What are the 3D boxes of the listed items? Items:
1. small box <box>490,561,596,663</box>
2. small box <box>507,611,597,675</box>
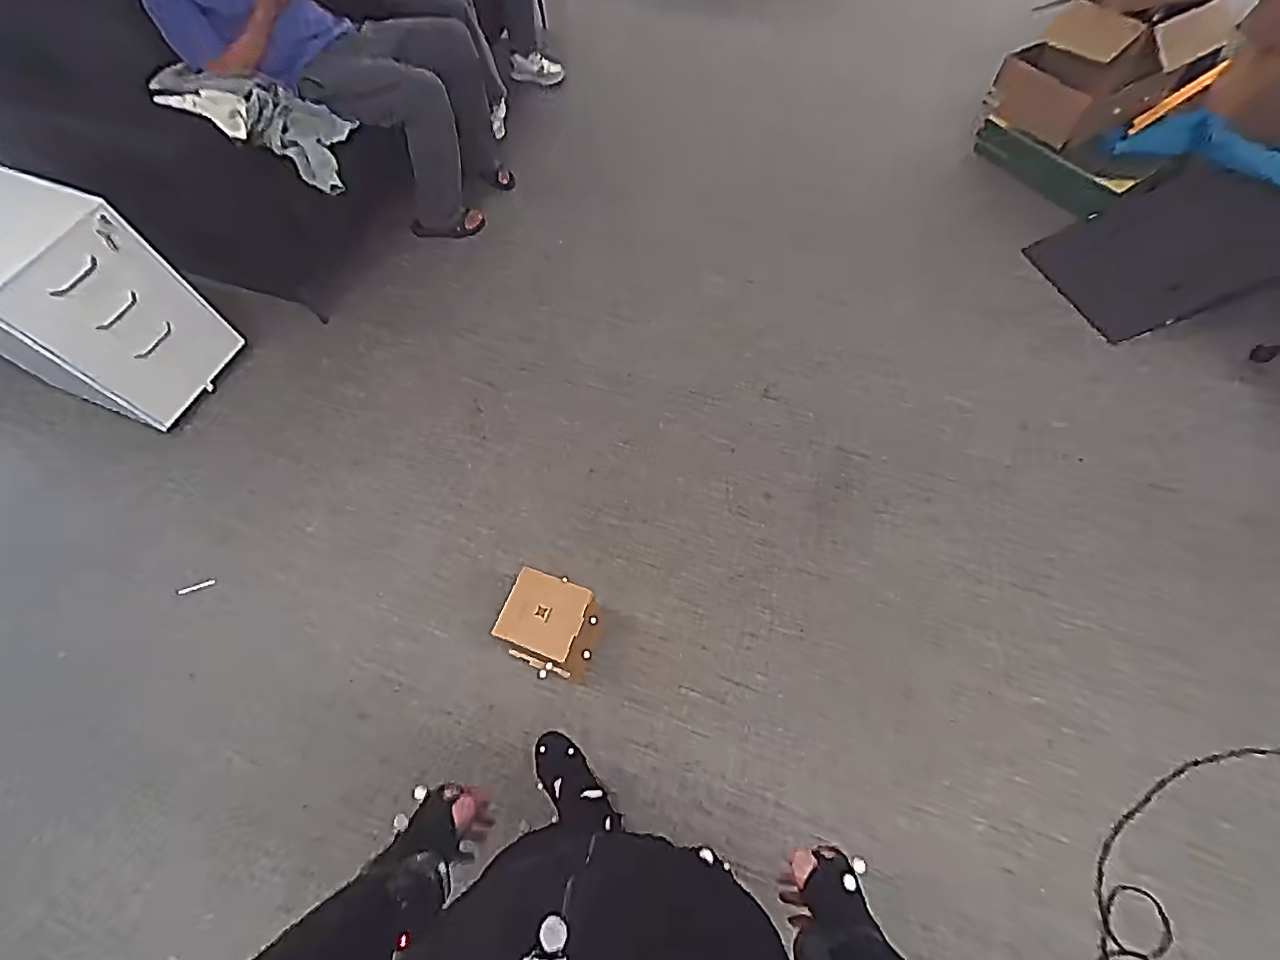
[{"bbox_3d":[-0.212,0.310,1.246,0.179,0.176,0.168,18,65,10],"label":"small box"},{"bbox_3d":[-0.218,0.392,1.408,0.168,0.176,0.179,17,65,10],"label":"small box"}]
